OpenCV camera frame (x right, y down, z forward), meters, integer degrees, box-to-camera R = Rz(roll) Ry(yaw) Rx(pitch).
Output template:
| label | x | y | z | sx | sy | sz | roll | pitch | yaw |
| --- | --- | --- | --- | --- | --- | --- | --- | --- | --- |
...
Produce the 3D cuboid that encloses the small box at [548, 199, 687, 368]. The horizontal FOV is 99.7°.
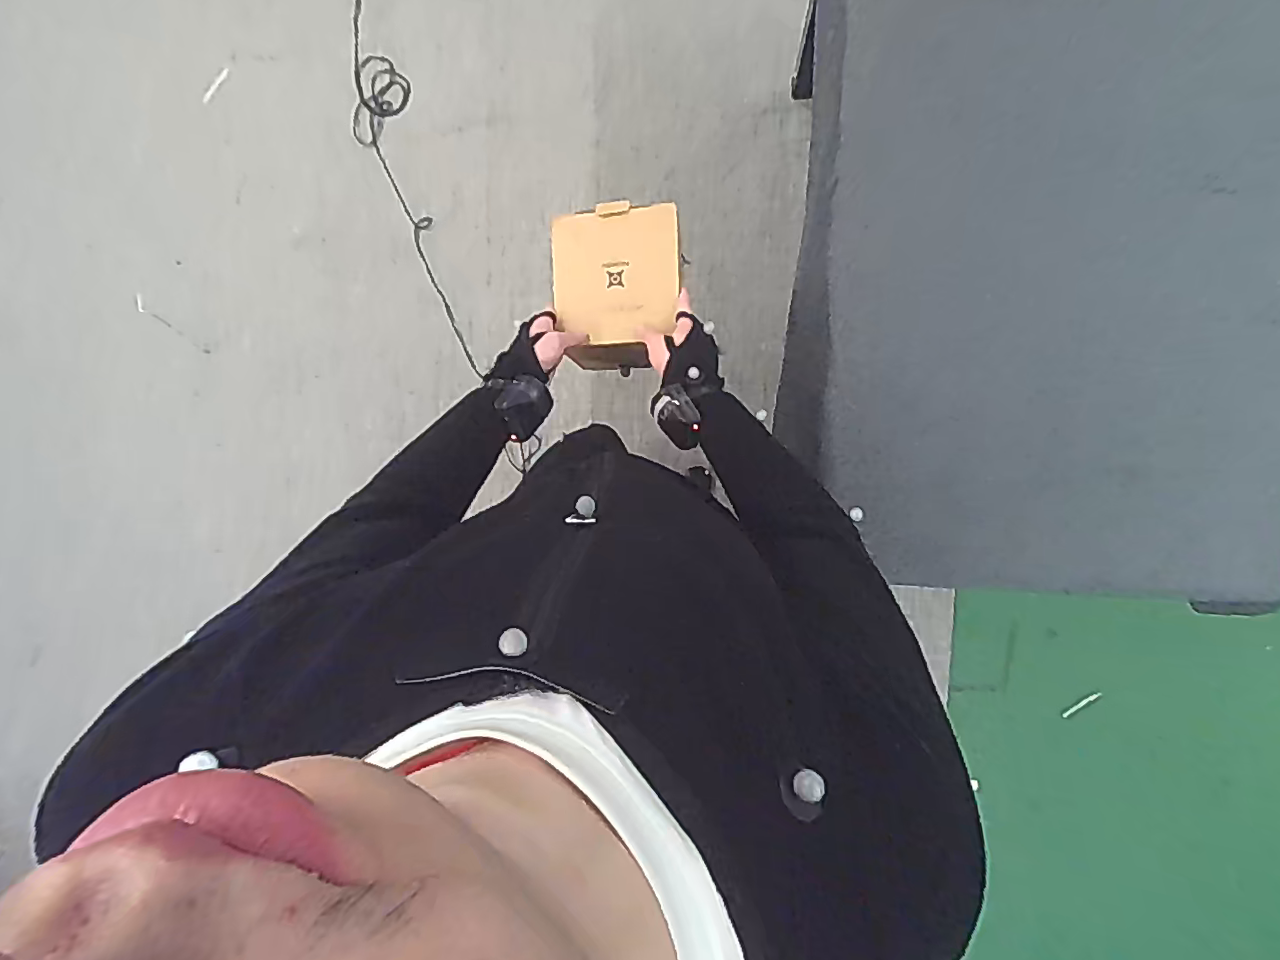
| label | x | y | z | sx | sy | sz | roll | pitch | yaw |
| --- | --- | --- | --- | --- | --- | --- | --- | --- | --- |
| small box | -0.023 | -0.261 | 0.755 | 0.168 | 0.176 | 0.179 | 1 | 91 | 9 |
